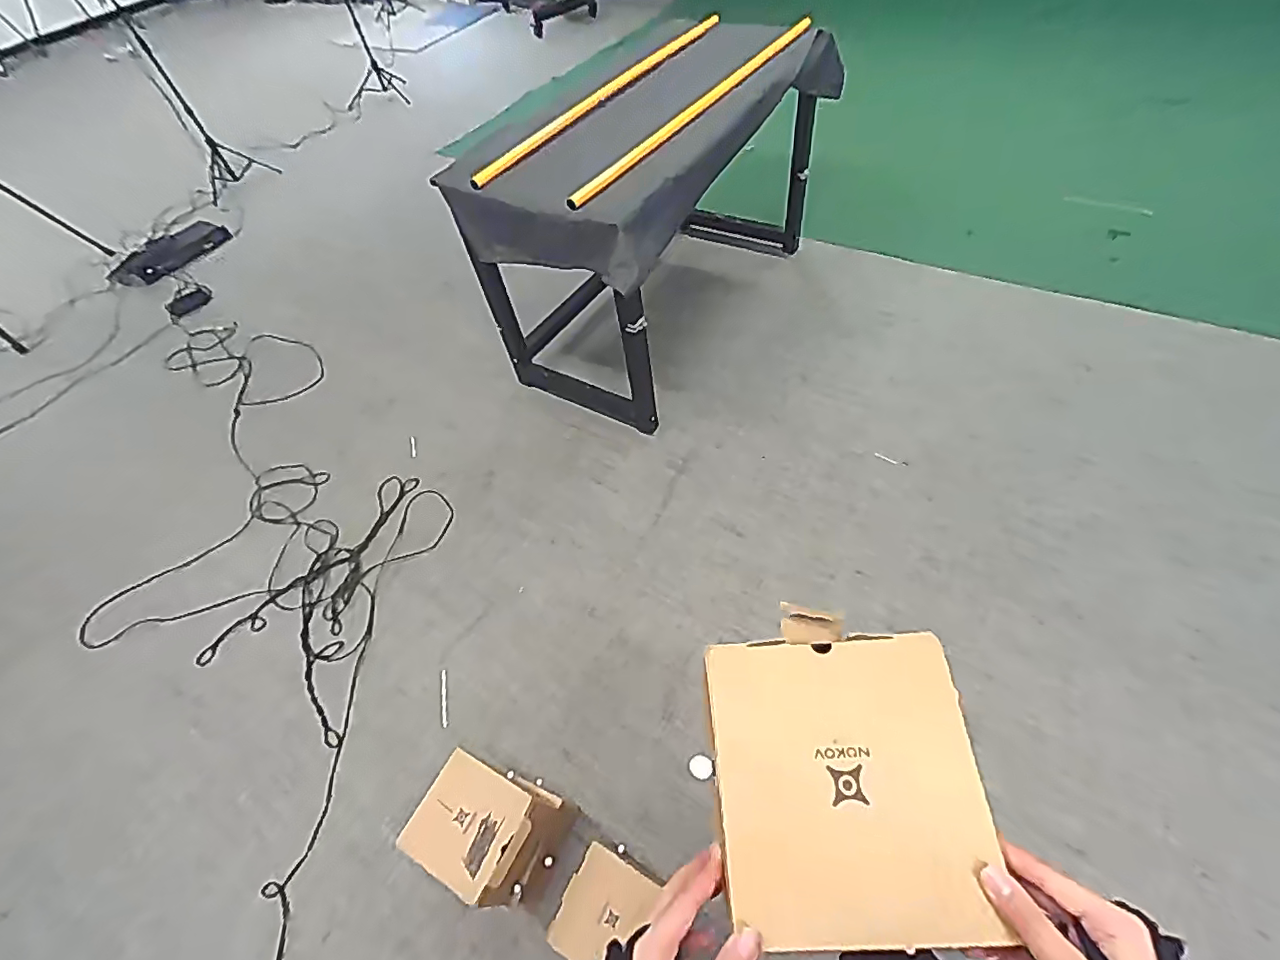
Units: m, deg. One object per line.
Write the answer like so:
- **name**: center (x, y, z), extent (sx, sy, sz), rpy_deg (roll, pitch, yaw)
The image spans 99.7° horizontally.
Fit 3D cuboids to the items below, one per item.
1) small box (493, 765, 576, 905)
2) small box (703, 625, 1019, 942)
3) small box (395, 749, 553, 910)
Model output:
- **small box**: center (-0.245, 0.705, 1.078), extent (0.168, 0.176, 0.179), rpy_deg (16, 58, 19)
- **small box**: center (0.139, 0.222, 0.419), extent (0.168, 0.176, 0.179), rpy_deg (-5, 62, 3)
- **small box**: center (-0.276, 0.608, 0.947), extent (0.179, 0.176, 0.168), rpy_deg (20, 58, 23)
